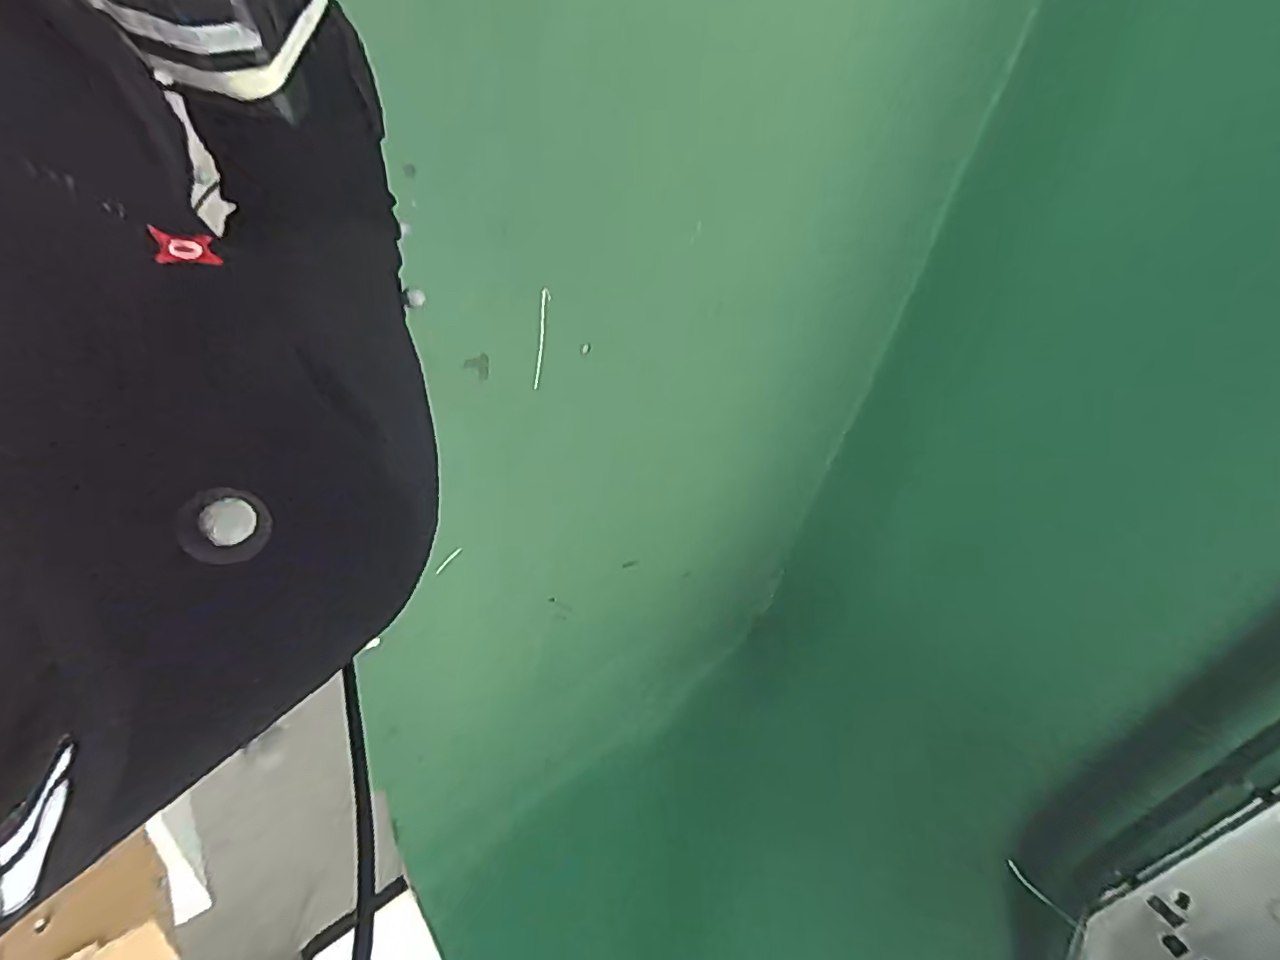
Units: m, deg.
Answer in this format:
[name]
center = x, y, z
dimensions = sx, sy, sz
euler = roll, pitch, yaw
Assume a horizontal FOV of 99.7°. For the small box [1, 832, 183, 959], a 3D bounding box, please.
[small box]
center = -0.848, 0.696, 0.844
dimensions = 0.168, 0.176, 0.179
euler = -15, 133, -38
